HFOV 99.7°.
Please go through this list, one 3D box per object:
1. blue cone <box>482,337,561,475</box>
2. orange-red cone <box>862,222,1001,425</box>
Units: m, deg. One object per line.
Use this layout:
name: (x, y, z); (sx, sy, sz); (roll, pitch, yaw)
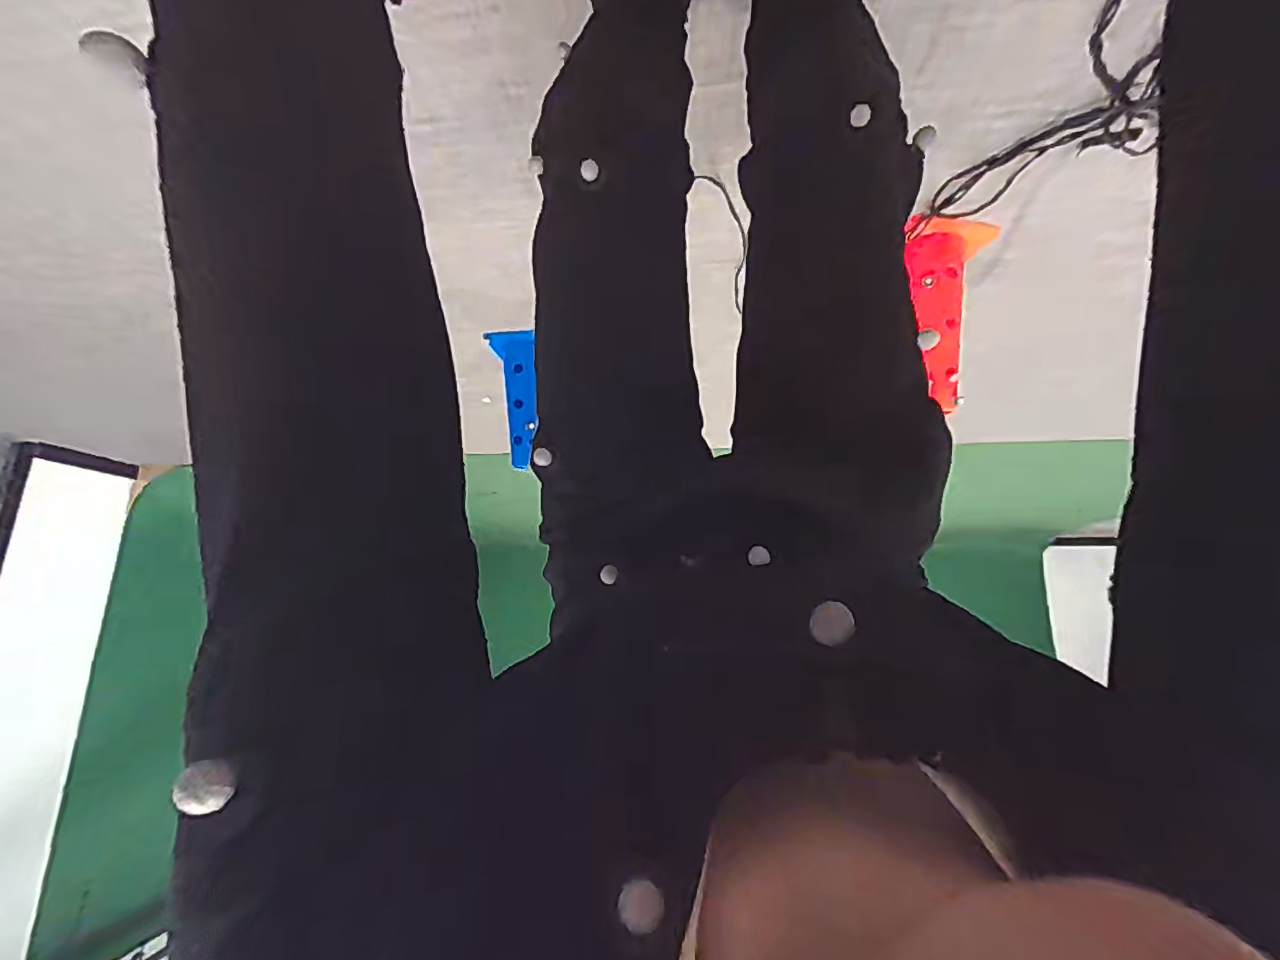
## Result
blue cone: (-0.337, -0.199, 1.508); (0.192, 0.380, 0.193); (0, 165, 7)
orange-red cone: (0.583, -0.282, 1.056); (0.199, 0.360, 0.198); (3, 166, -12)
